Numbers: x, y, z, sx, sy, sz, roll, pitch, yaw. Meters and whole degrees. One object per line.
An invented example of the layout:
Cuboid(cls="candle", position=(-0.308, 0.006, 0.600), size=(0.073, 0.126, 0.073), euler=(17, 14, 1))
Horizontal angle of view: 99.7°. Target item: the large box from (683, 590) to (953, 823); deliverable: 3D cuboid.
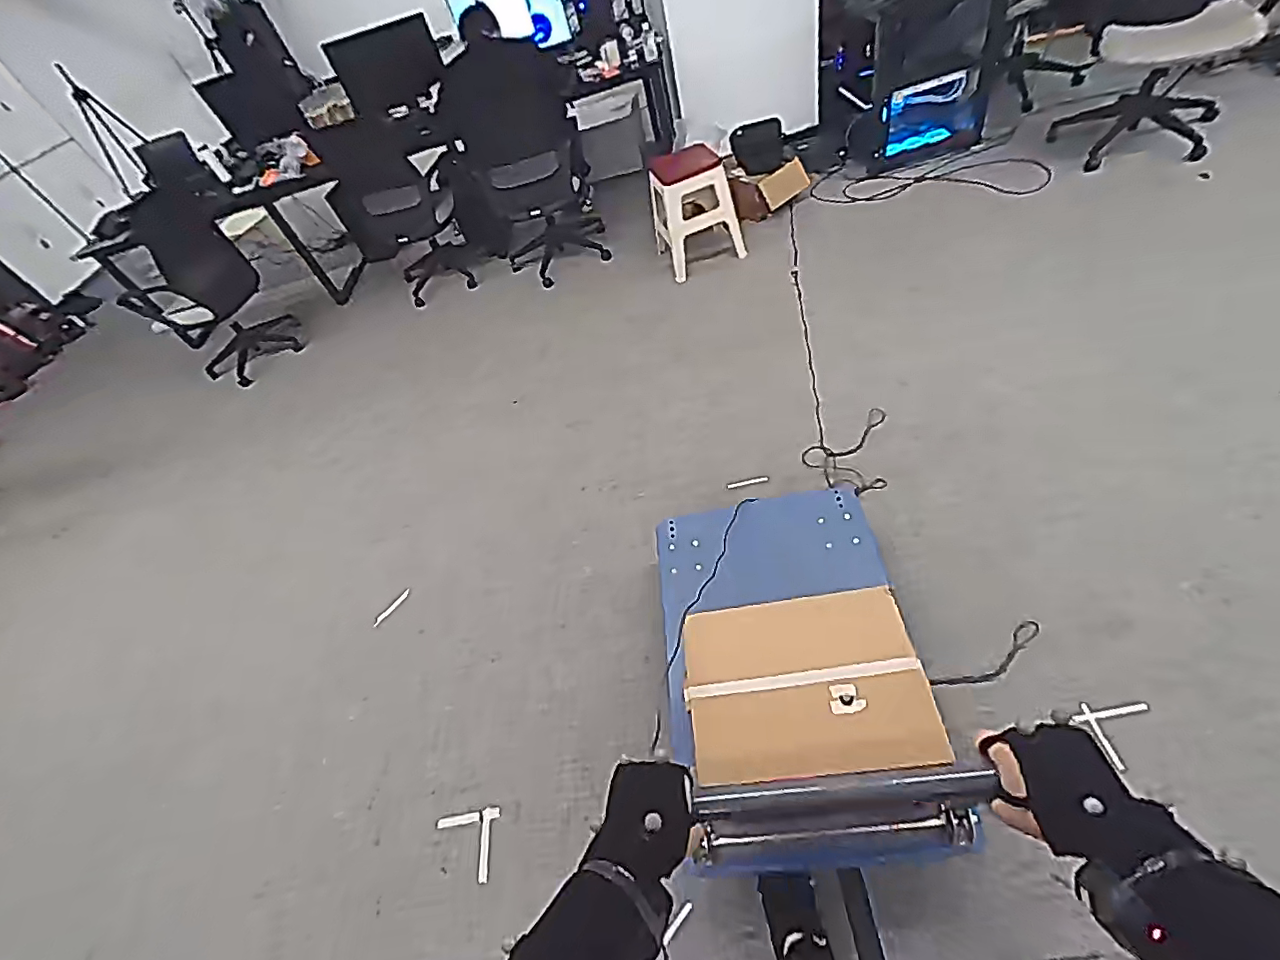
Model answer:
Cuboid(cls="large box", position=(0.317, 0.455, 1.066), size=(0.408, 0.320, 0.320), euler=(-11, 49, 8))
